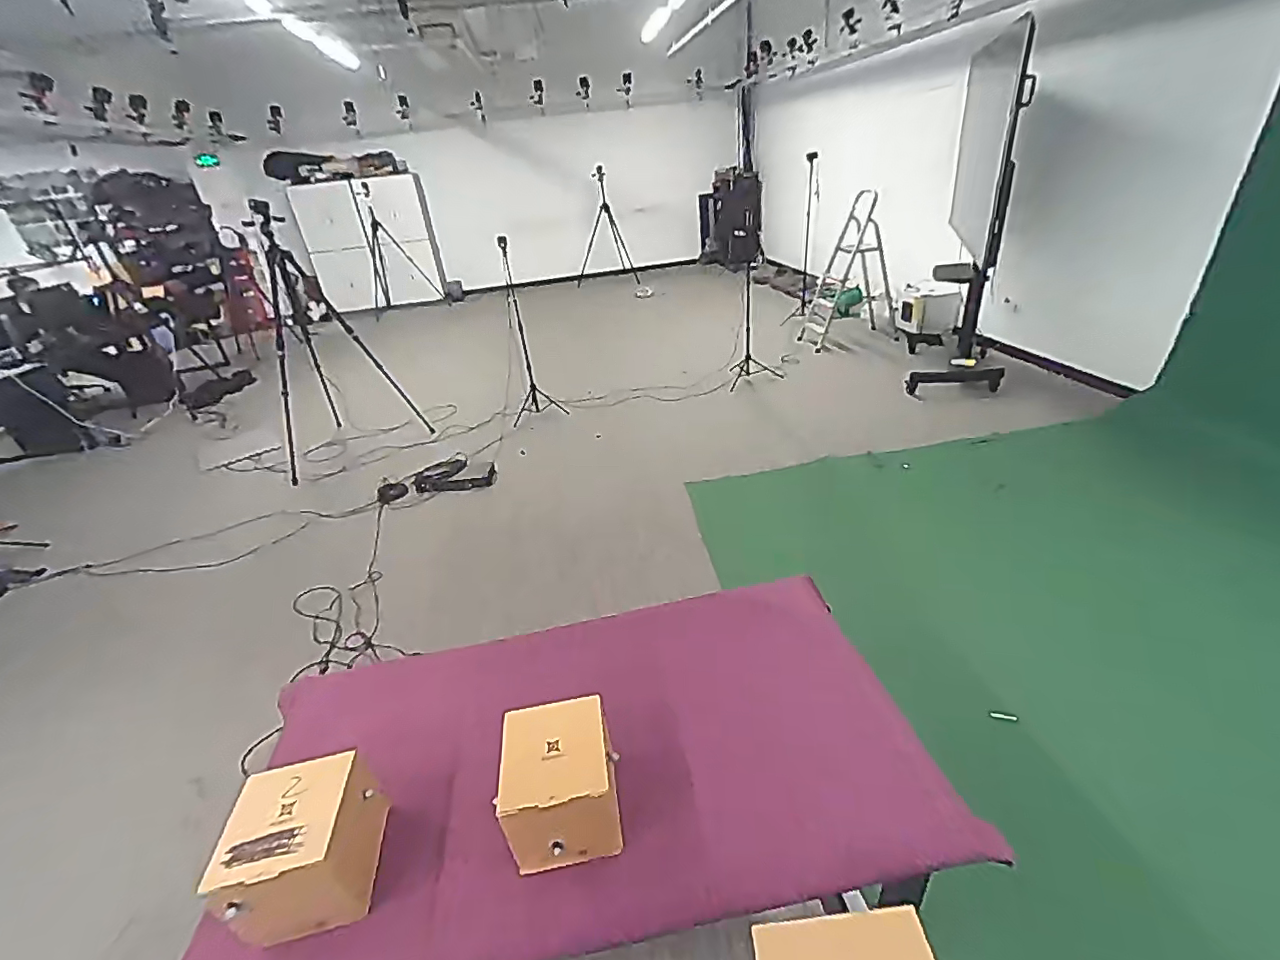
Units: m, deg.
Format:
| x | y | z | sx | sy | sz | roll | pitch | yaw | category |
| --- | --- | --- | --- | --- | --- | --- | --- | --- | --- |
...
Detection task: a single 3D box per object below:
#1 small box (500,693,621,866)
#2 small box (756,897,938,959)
| x | y | z | sx | sy | sz | roll | pitch | yaw | category |
| --- | --- | --- | --- | --- | --- | --- | --- | --- | --- |
| -0.127 | 0.489 | 0.893 | 0.168 | 0.176 | 0.179 | -9 | 31 | -5 | small box |
| 0.215 | 0.545 | 0.513 | 0.168 | 0.176 | 0.179 | -13 | 27 | 7 | small box |
